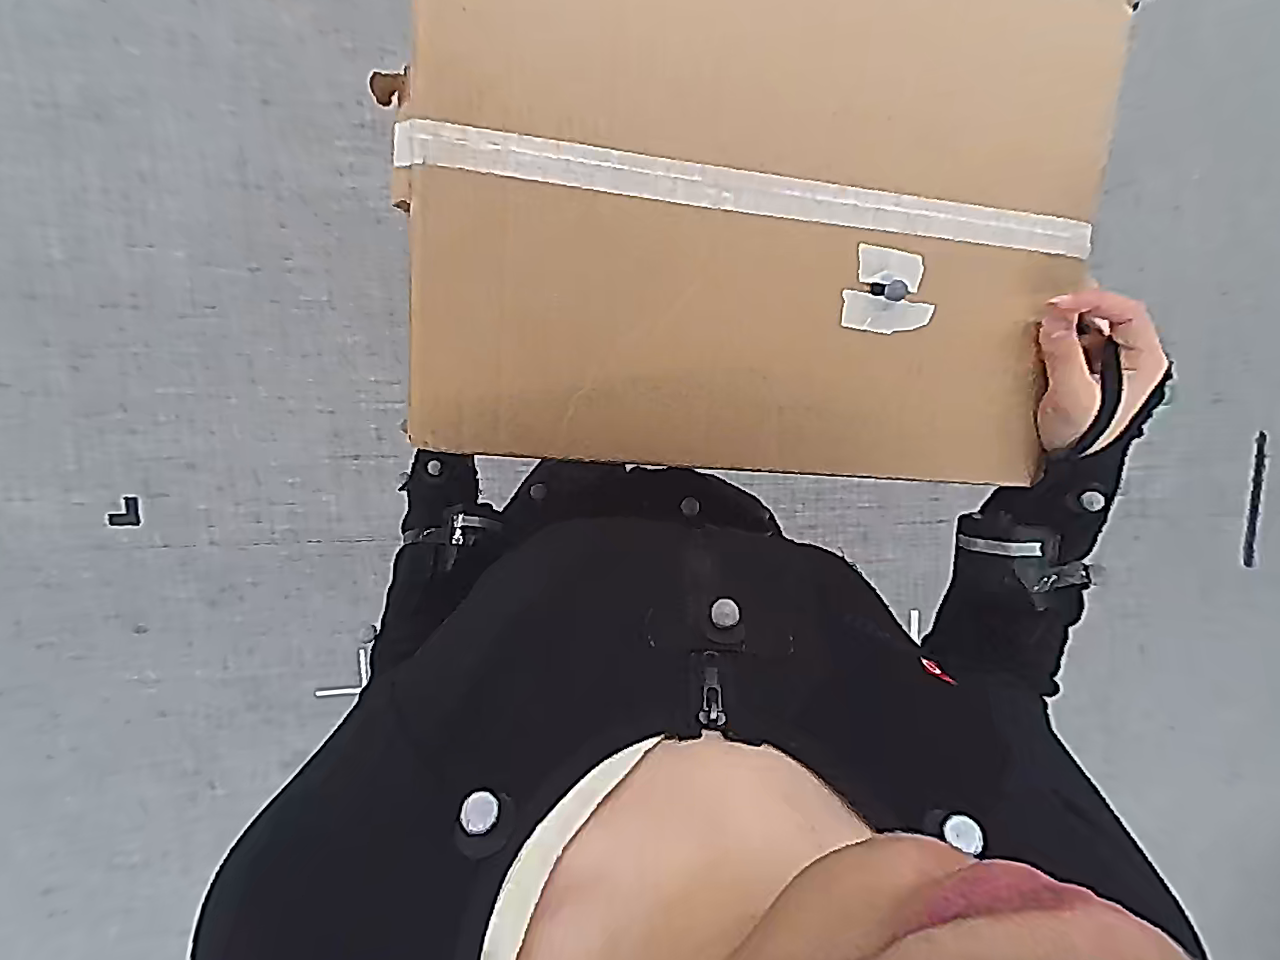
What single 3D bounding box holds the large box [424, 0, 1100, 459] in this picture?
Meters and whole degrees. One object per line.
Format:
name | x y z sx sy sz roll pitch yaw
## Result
large box | 0.053 -0.194 0.460 0.408 0.320 0.320 3 99 -12
